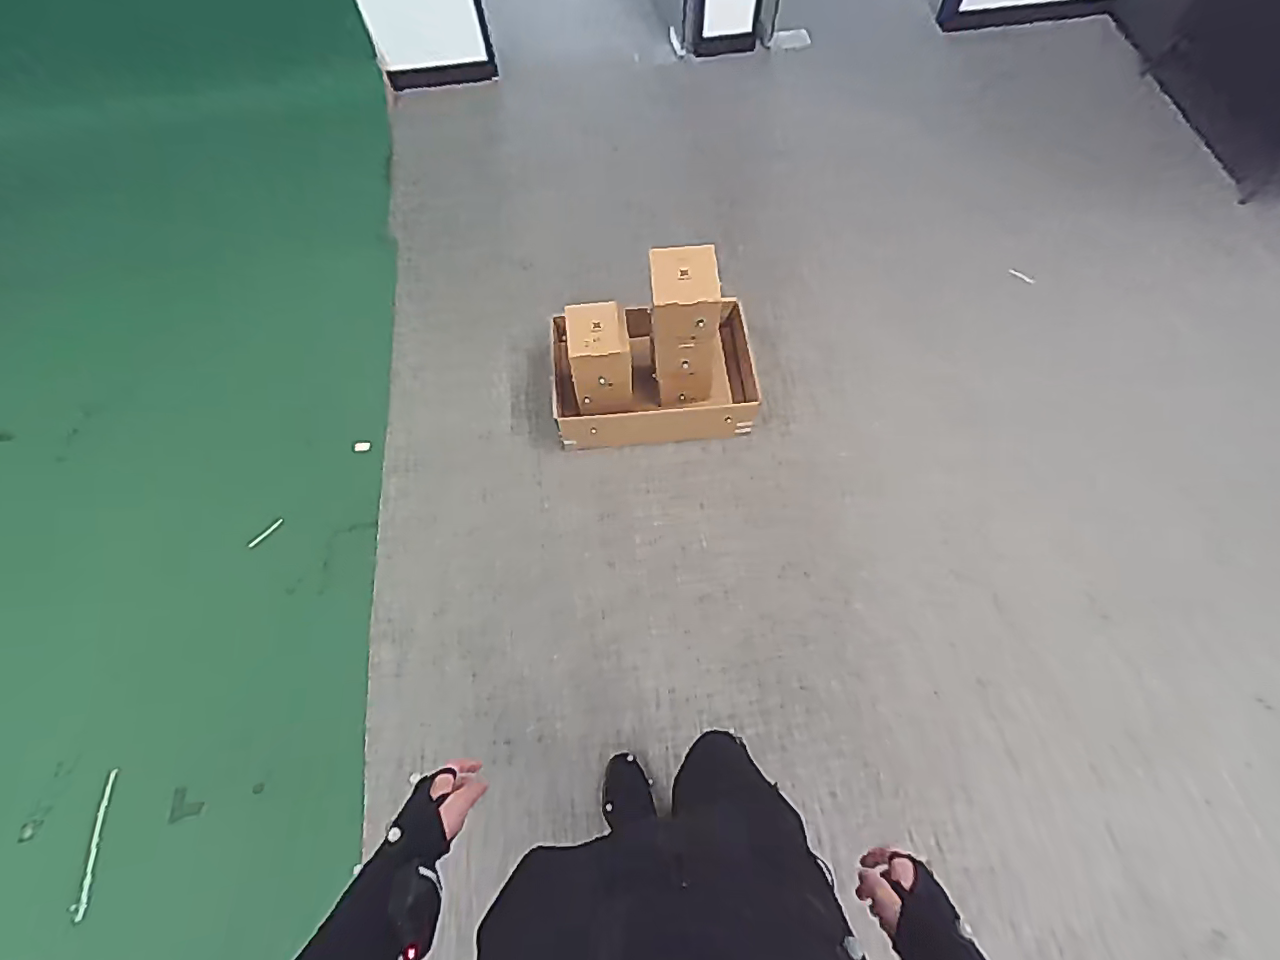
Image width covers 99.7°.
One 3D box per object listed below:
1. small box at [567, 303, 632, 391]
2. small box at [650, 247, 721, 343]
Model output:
[{"bbox_3d":[-0.113,-0.373,1.530,0.168,0.176,0.179,-6,67,-2],"label":"small box"},{"bbox_3d":[0.114,-0.468,1.394,0.168,0.176,0.179,-3,67,1],"label":"small box"}]
